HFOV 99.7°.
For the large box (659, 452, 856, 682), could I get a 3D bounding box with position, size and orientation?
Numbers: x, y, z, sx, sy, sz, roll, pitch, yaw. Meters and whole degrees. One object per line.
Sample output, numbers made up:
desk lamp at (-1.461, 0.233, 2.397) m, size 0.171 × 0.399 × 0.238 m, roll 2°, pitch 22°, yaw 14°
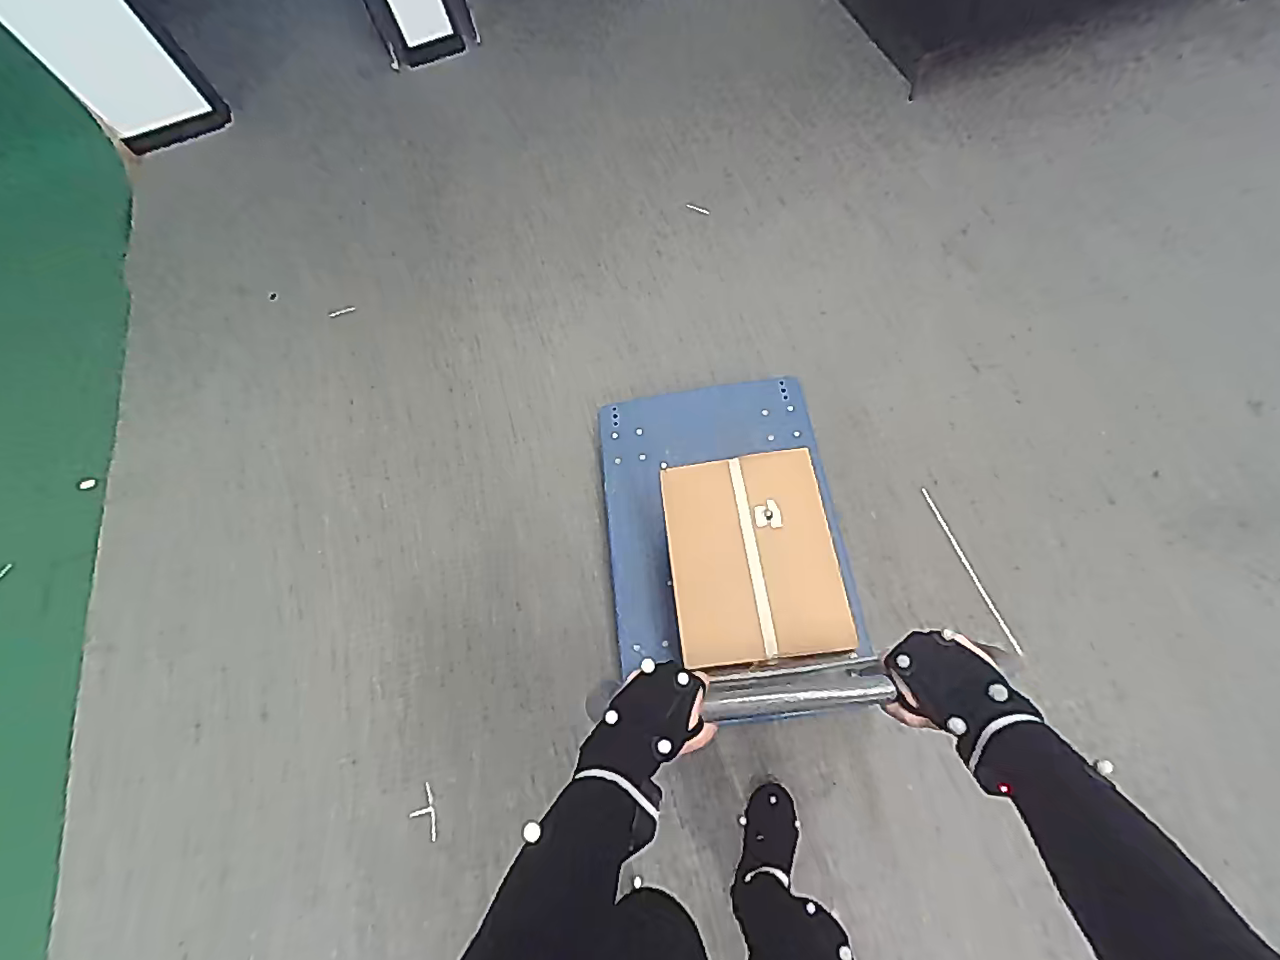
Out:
large box at (0.231, 0.203, 1.185) m, size 0.320 × 0.320 × 0.408 m, roll -8°, pitch 64°, yaw 3°
